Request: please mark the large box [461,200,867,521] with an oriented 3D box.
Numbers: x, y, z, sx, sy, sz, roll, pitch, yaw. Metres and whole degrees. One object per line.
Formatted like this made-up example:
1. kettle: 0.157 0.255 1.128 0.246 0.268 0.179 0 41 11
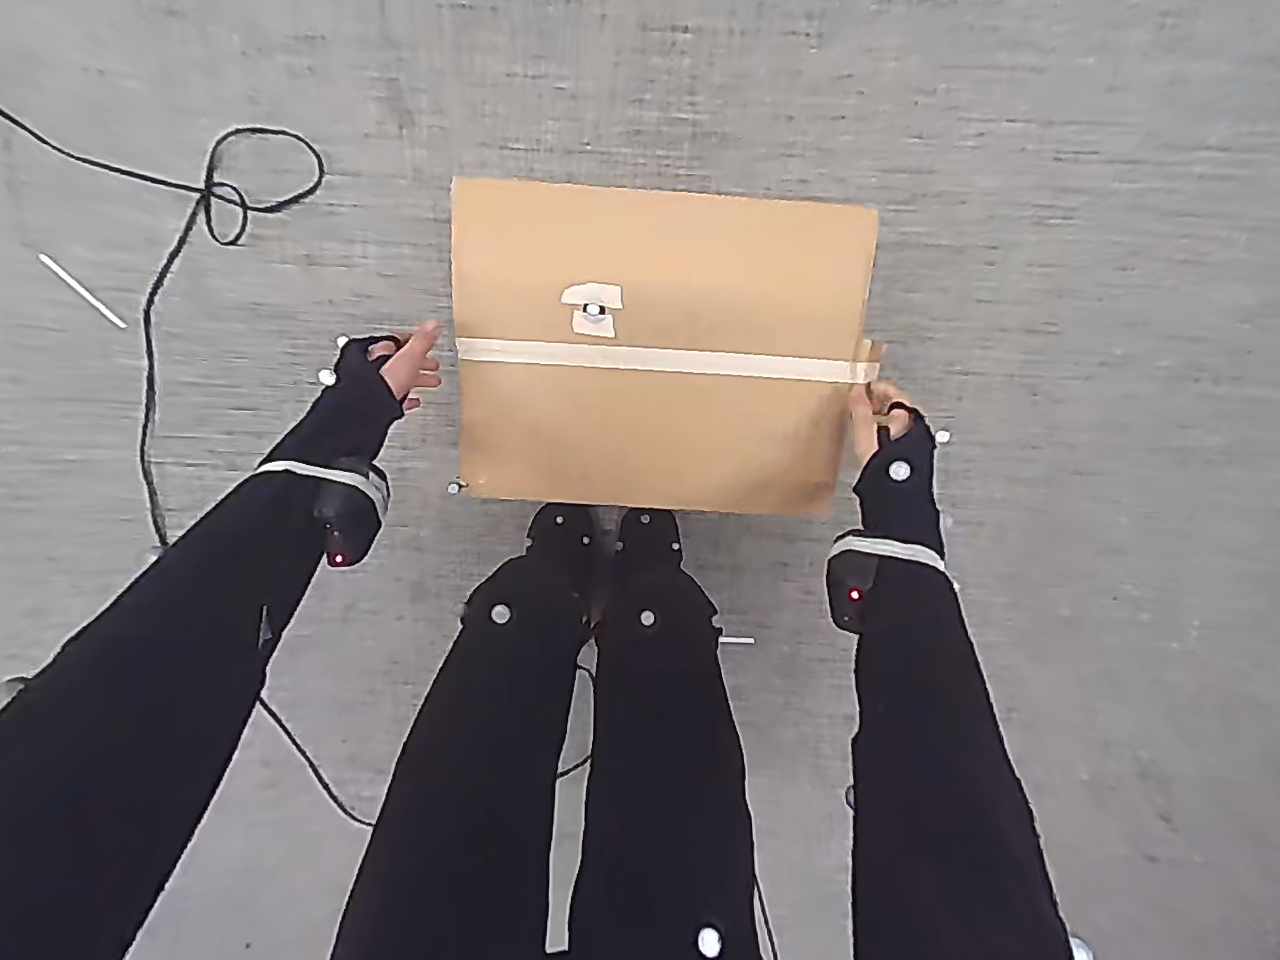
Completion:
1. large box: 0.019 -0.153 0.704 0.408 0.320 0.320 4 105 0
